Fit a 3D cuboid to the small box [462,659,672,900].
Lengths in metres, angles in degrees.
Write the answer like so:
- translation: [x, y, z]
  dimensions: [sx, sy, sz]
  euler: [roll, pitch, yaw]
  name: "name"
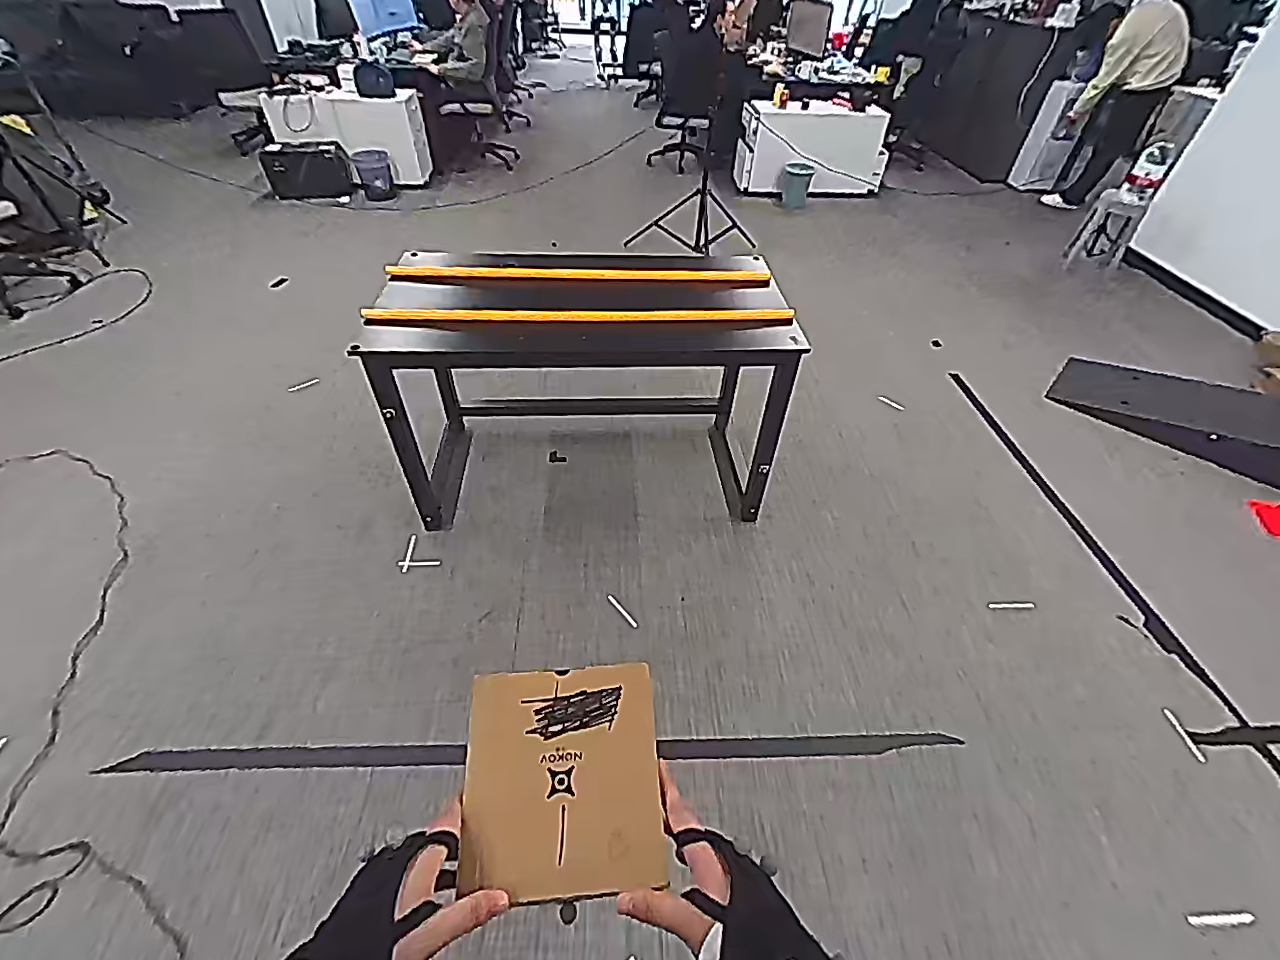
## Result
- translation: [-0.064, 0.296, 0.532]
  dimensions: [0.168, 0.176, 0.179]
  euler: [-4, 52, -4]
  name: "small box"
